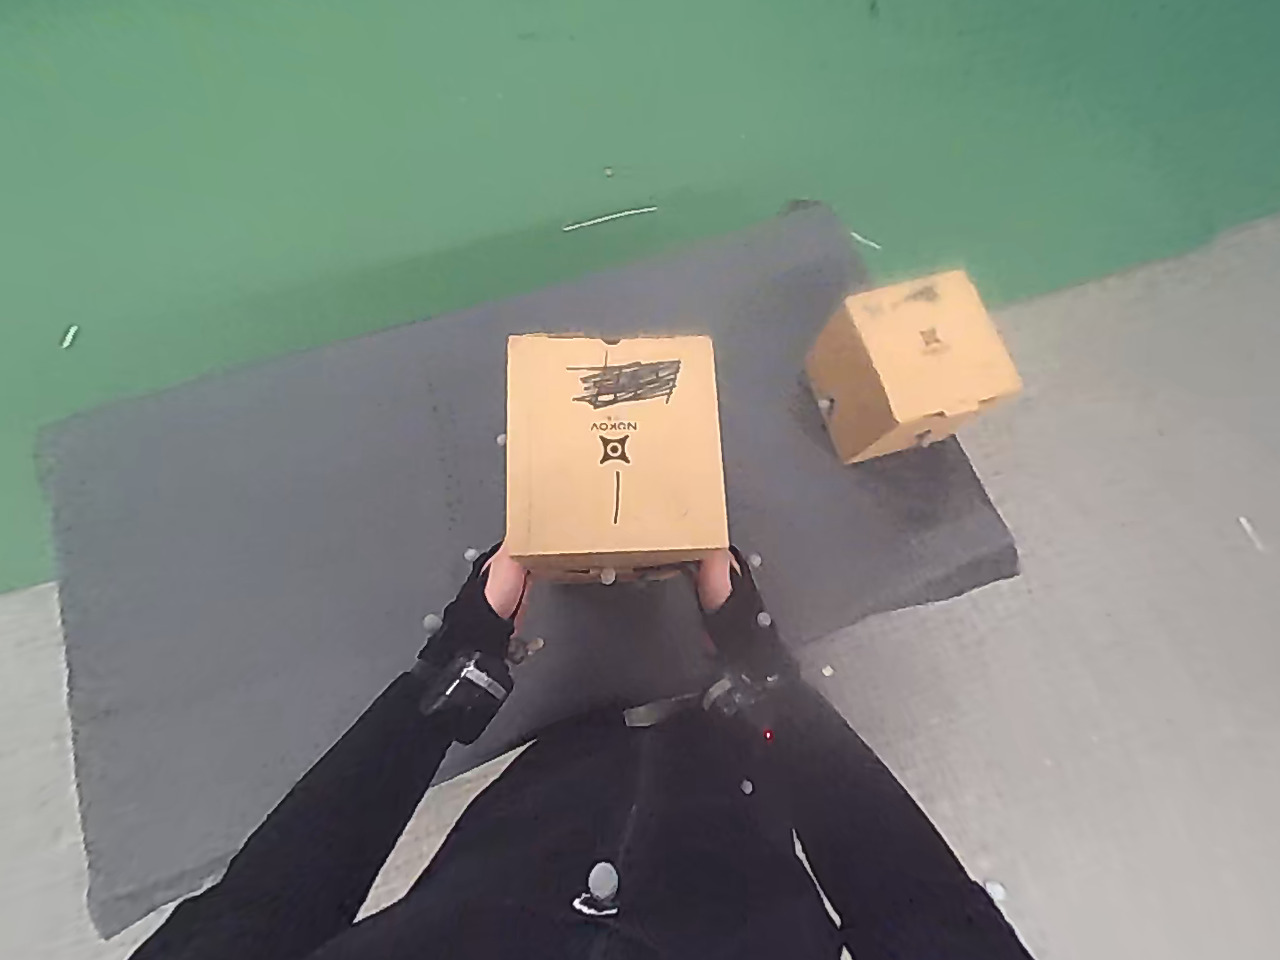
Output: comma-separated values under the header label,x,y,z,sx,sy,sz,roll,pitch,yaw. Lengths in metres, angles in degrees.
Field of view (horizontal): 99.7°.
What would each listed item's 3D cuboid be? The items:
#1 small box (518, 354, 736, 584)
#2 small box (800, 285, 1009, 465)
label,x,y,z,sx,sy,sz,roll,pitch,yaw
small box,-0.018,0.002,0.497,0.168,0.176,0.179,-1,78,-6
small box,0.345,-0.130,0.743,0.168,0.176,0.179,-15,76,-6
